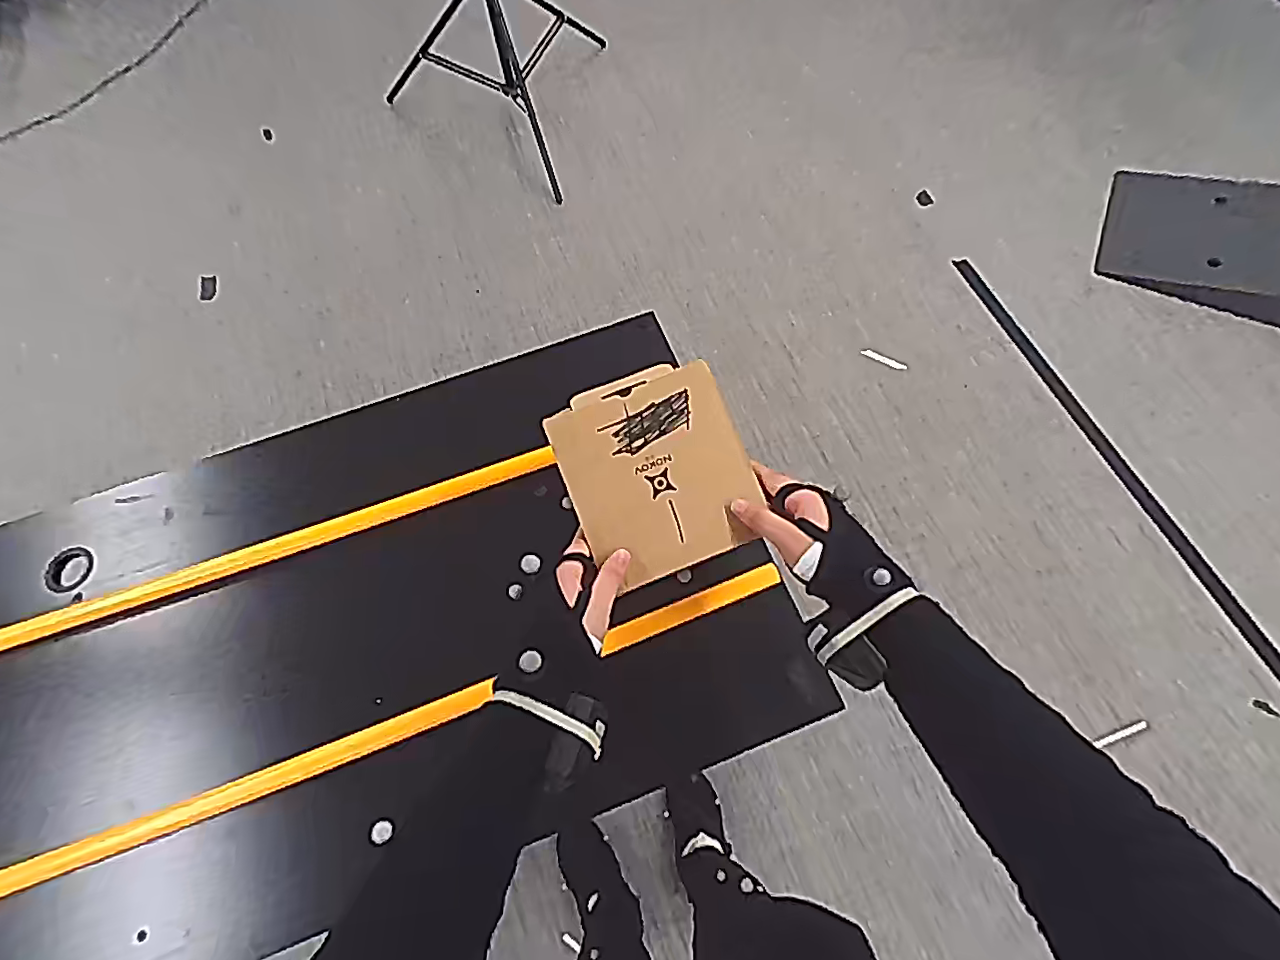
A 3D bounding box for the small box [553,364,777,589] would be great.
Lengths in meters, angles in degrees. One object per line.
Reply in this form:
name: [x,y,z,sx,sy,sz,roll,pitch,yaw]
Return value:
small box: [0.021,0.007,0.580,0.168,0.176,0.179,-21,81,-2]
